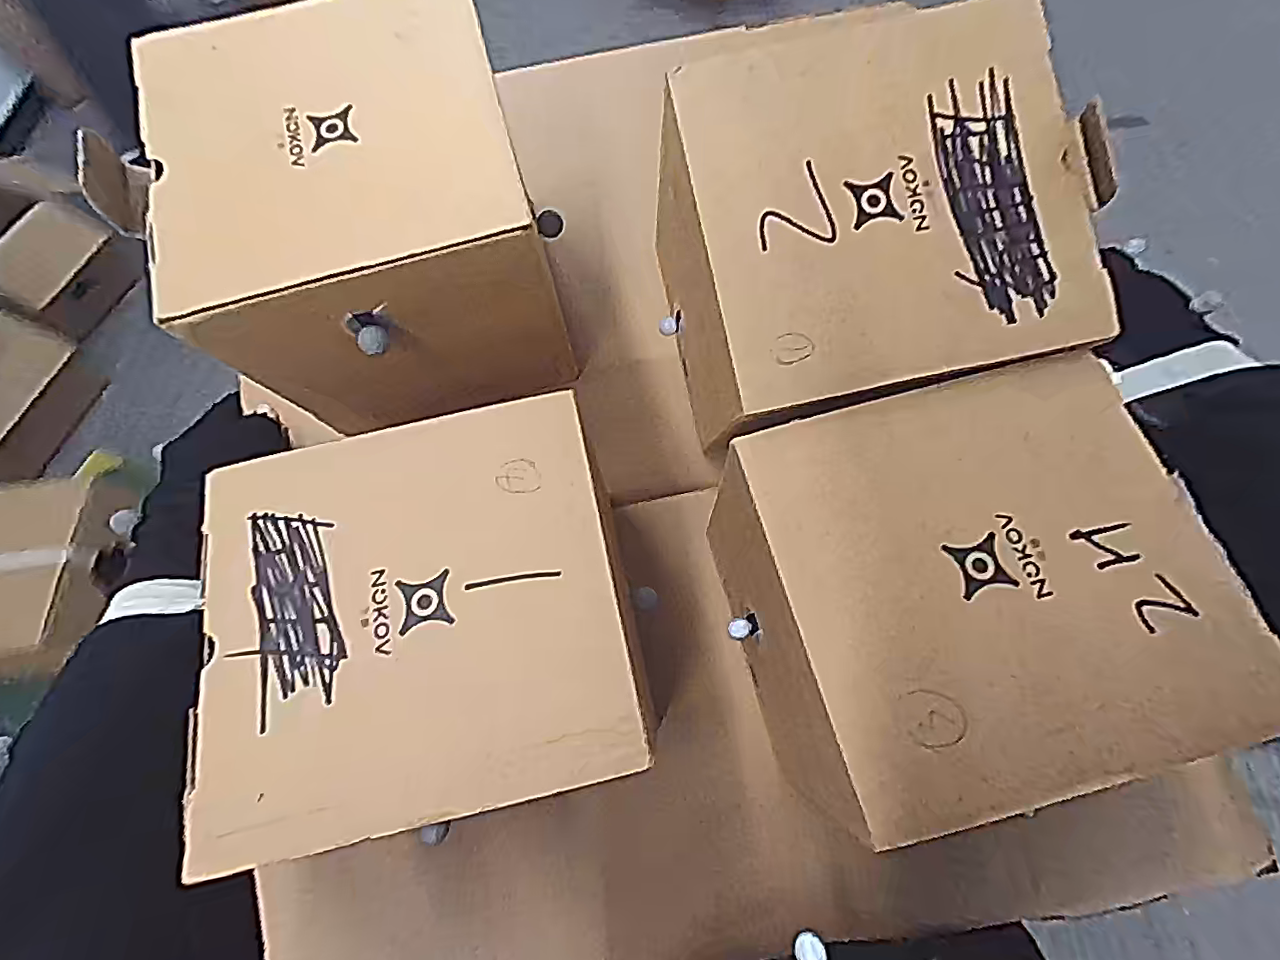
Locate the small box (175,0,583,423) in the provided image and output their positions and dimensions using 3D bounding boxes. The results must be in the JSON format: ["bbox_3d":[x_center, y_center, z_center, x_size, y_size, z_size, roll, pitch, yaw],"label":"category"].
[{"bbox_3d":[-0.140,-0.153,0.349,0.179,0.176,0.168,-15,77,0],"label":"small box"}]
